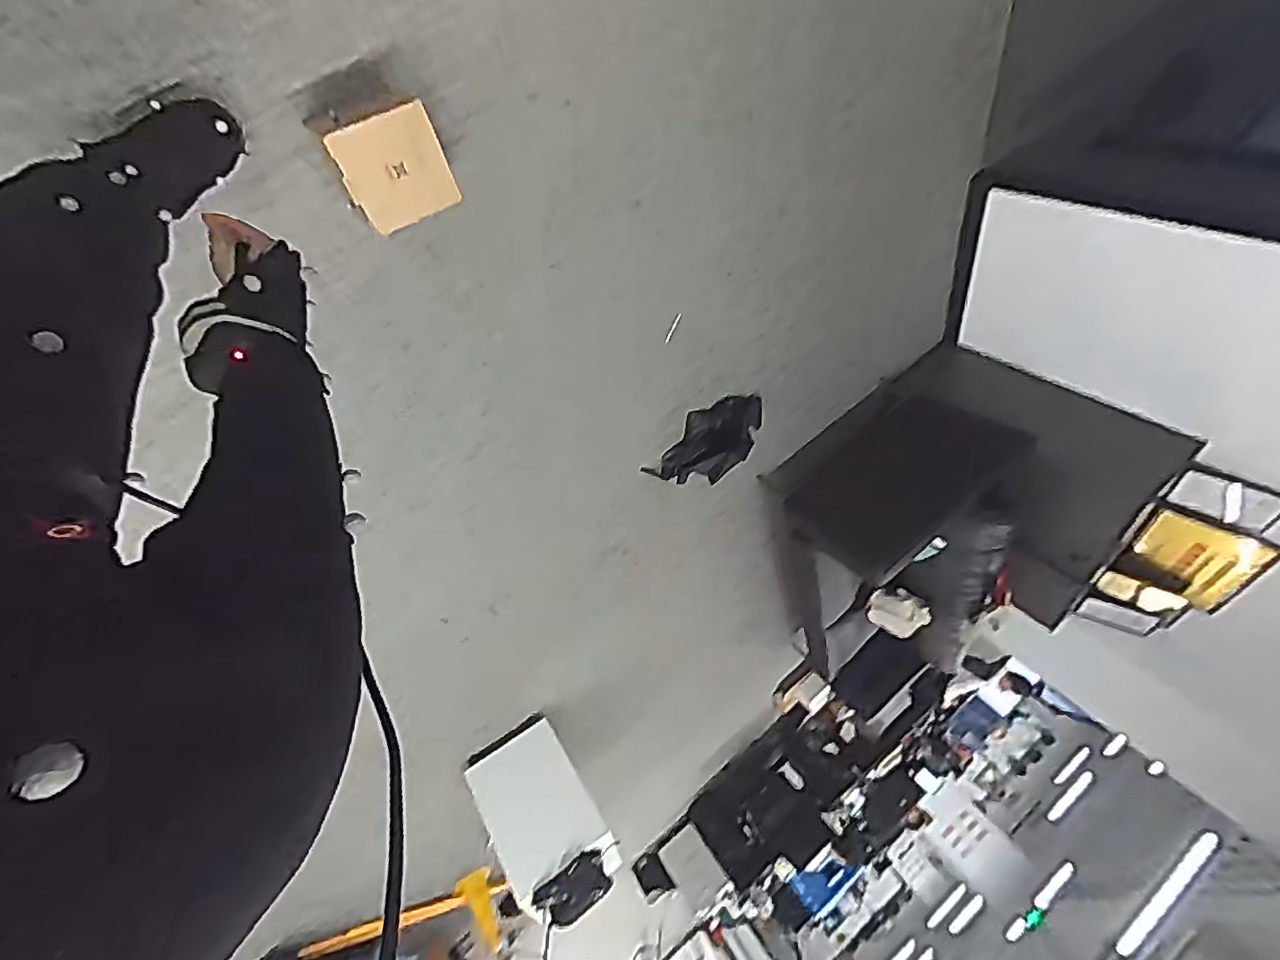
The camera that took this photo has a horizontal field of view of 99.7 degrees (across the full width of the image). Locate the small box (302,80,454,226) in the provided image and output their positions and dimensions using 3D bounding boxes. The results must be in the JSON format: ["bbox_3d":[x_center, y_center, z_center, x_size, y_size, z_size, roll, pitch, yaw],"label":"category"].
[{"bbox_3d":[-0.472,-0.588,0.969,0.179,0.176,0.168,-35,142,-16],"label":"small box"}]
